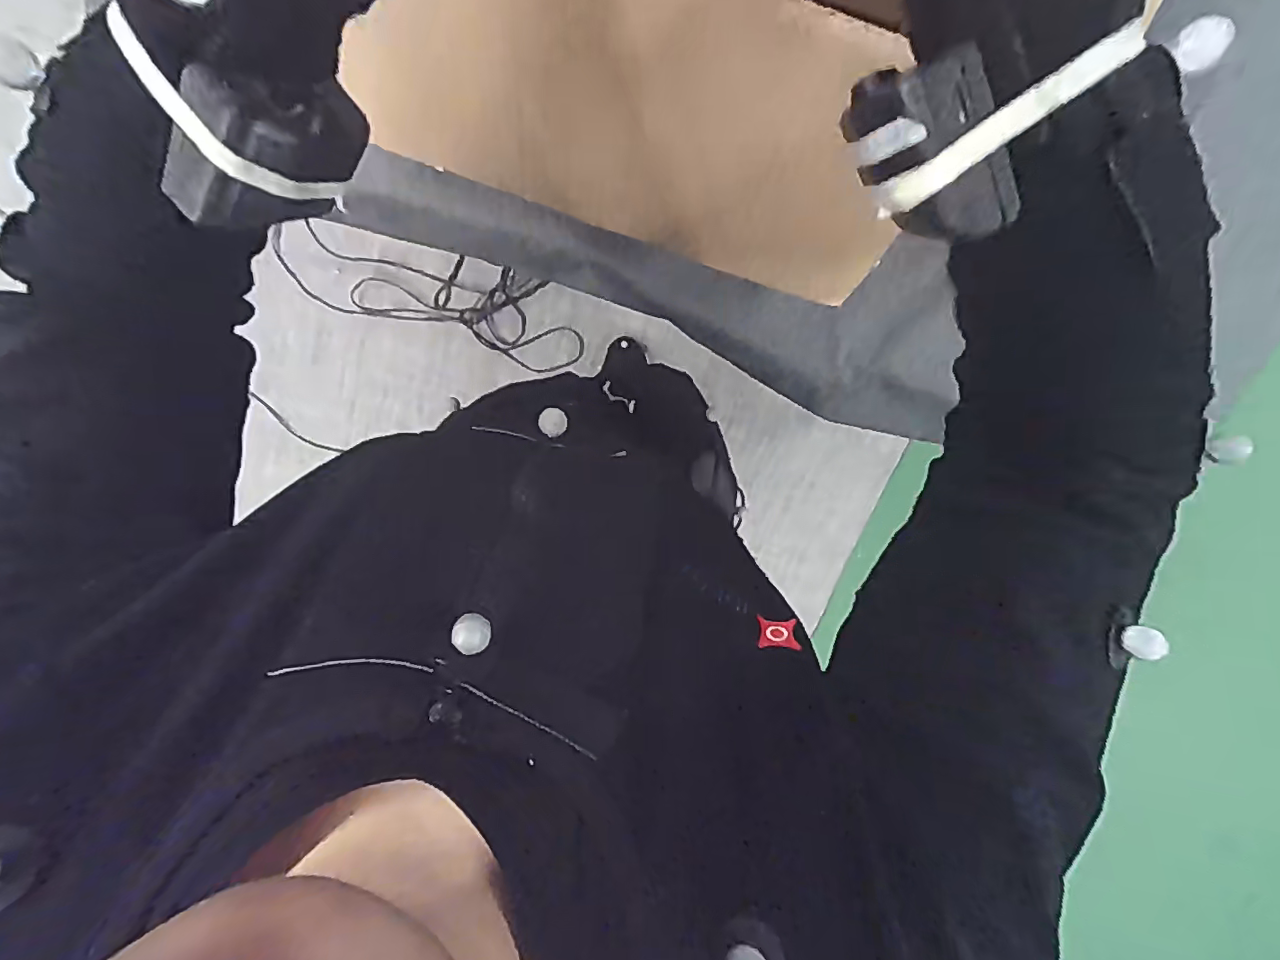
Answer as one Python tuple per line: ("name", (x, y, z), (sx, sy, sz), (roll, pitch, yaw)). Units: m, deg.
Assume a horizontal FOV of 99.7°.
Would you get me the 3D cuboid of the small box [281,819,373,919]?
("small box", (-0.965, 1.197, 1.675), (0.179, 0.176, 0.168), (19, 106, -4))
